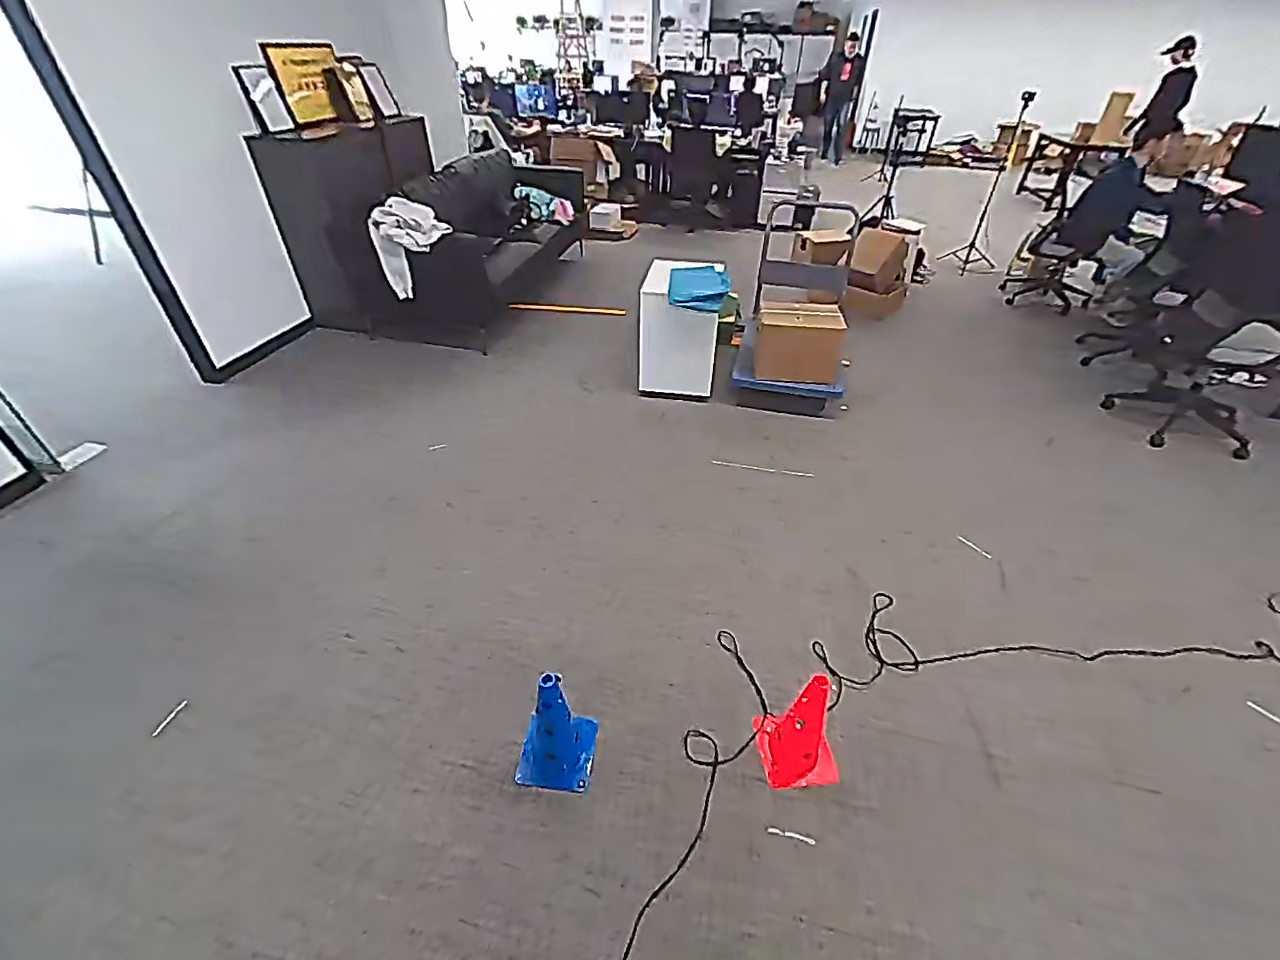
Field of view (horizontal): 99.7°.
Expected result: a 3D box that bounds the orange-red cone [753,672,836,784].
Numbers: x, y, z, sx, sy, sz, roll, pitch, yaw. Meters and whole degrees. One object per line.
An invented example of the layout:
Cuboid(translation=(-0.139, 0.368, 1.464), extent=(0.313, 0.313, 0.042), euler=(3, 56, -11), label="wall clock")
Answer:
Cuboid(translation=(0.431, 0.613, 1.407), extent=(0.198, 0.360, 0.199), euler=(-3, 40, -4), label="orange-red cone")
